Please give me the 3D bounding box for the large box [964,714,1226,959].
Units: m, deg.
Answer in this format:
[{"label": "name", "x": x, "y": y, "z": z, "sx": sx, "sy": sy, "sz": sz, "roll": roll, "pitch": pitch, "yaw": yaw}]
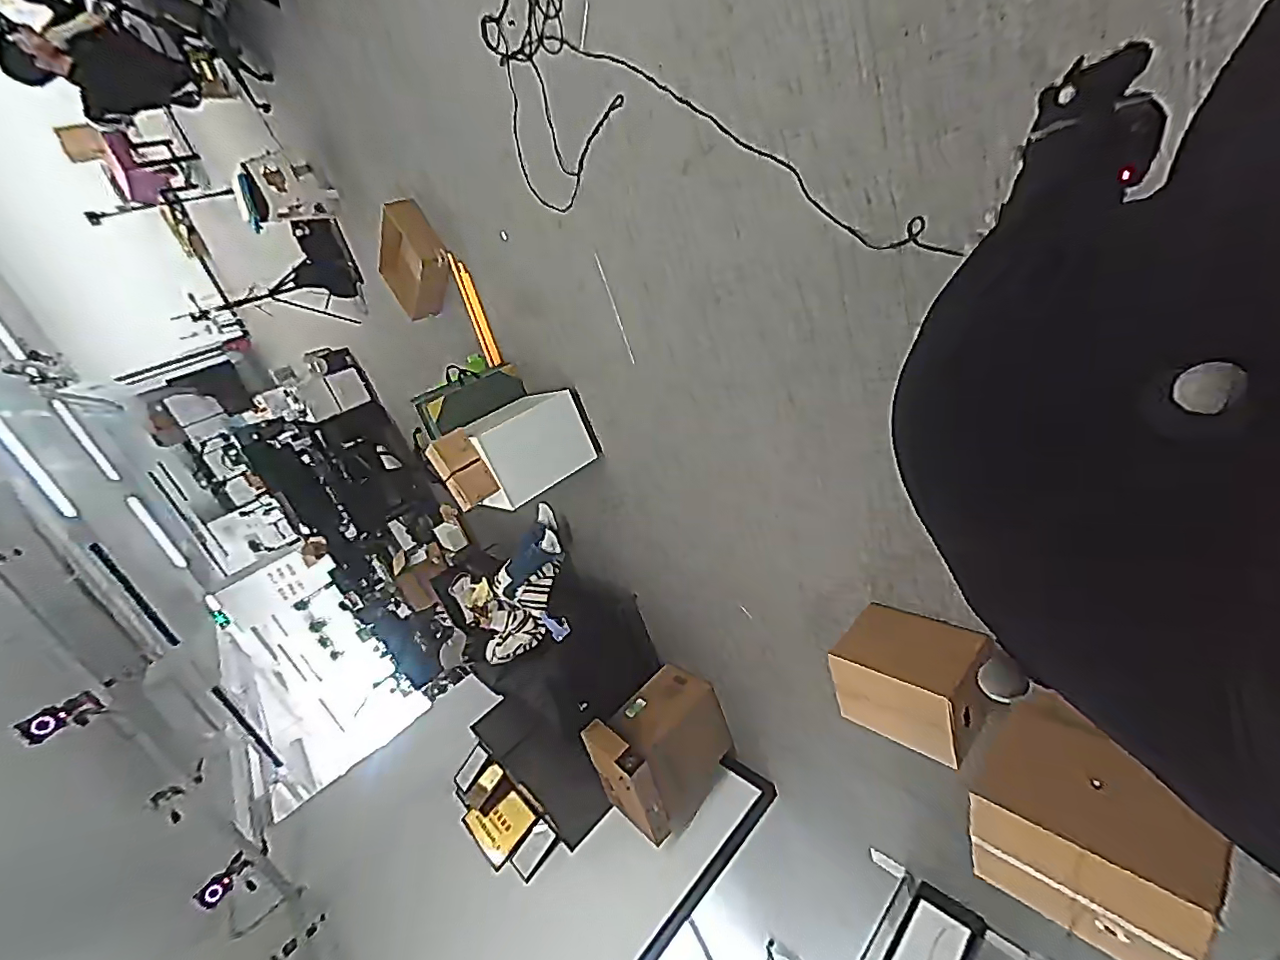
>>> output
[{"label": "large box", "x": 1.020, "y": 0.822, "z": 1.239, "sx": 0.408, "sy": 0.320, "sz": 0.320, "roll": 10, "pitch": 123, "yaw": 48}]
